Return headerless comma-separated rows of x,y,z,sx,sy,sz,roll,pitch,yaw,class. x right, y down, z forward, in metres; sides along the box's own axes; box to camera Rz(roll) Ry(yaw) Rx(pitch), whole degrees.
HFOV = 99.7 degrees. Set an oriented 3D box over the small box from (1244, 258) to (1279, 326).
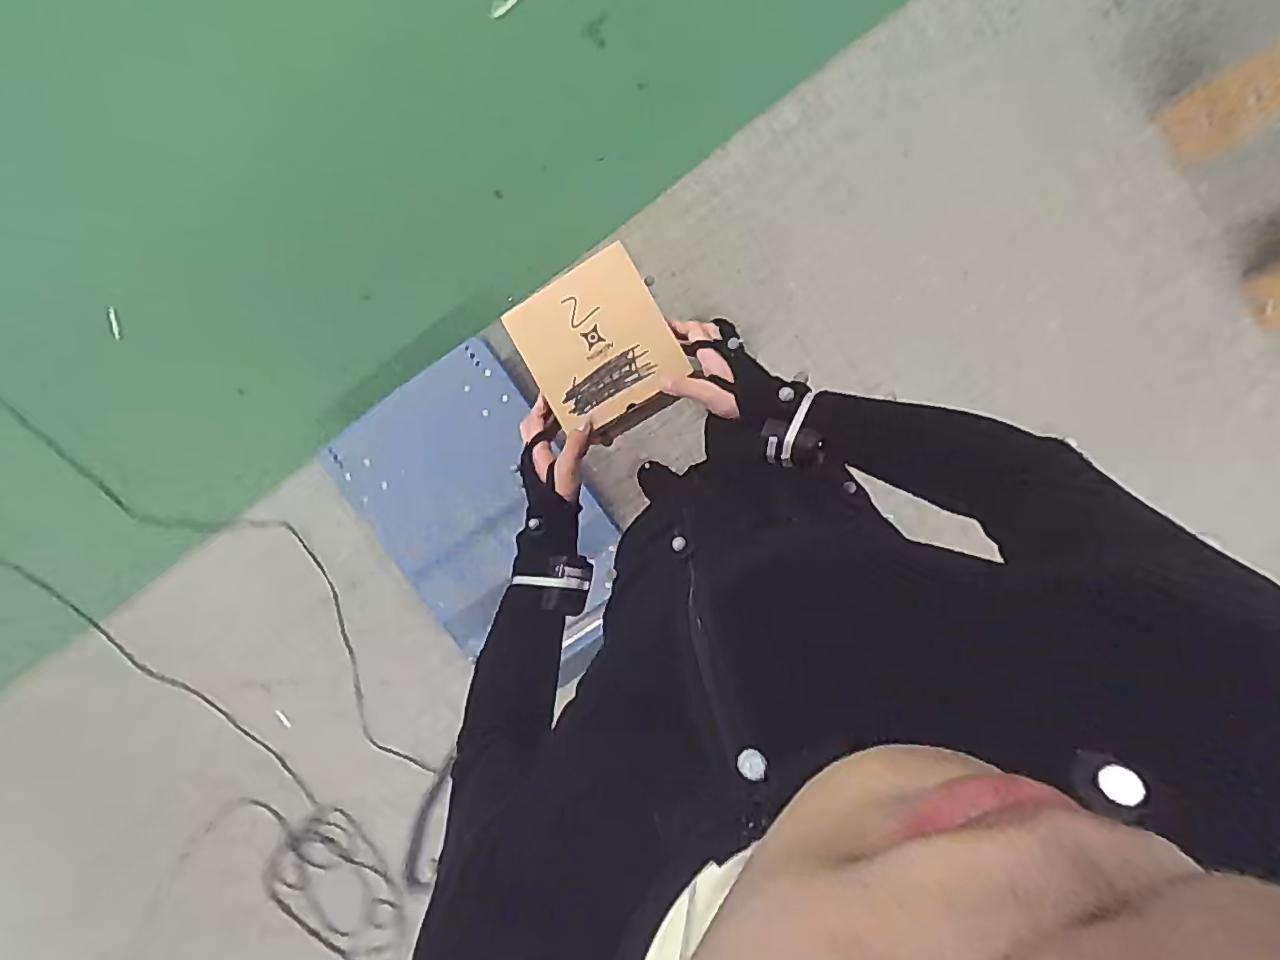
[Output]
1.753,-0.518,1.395,0.179,0.176,0.168,-23,93,7,small box
